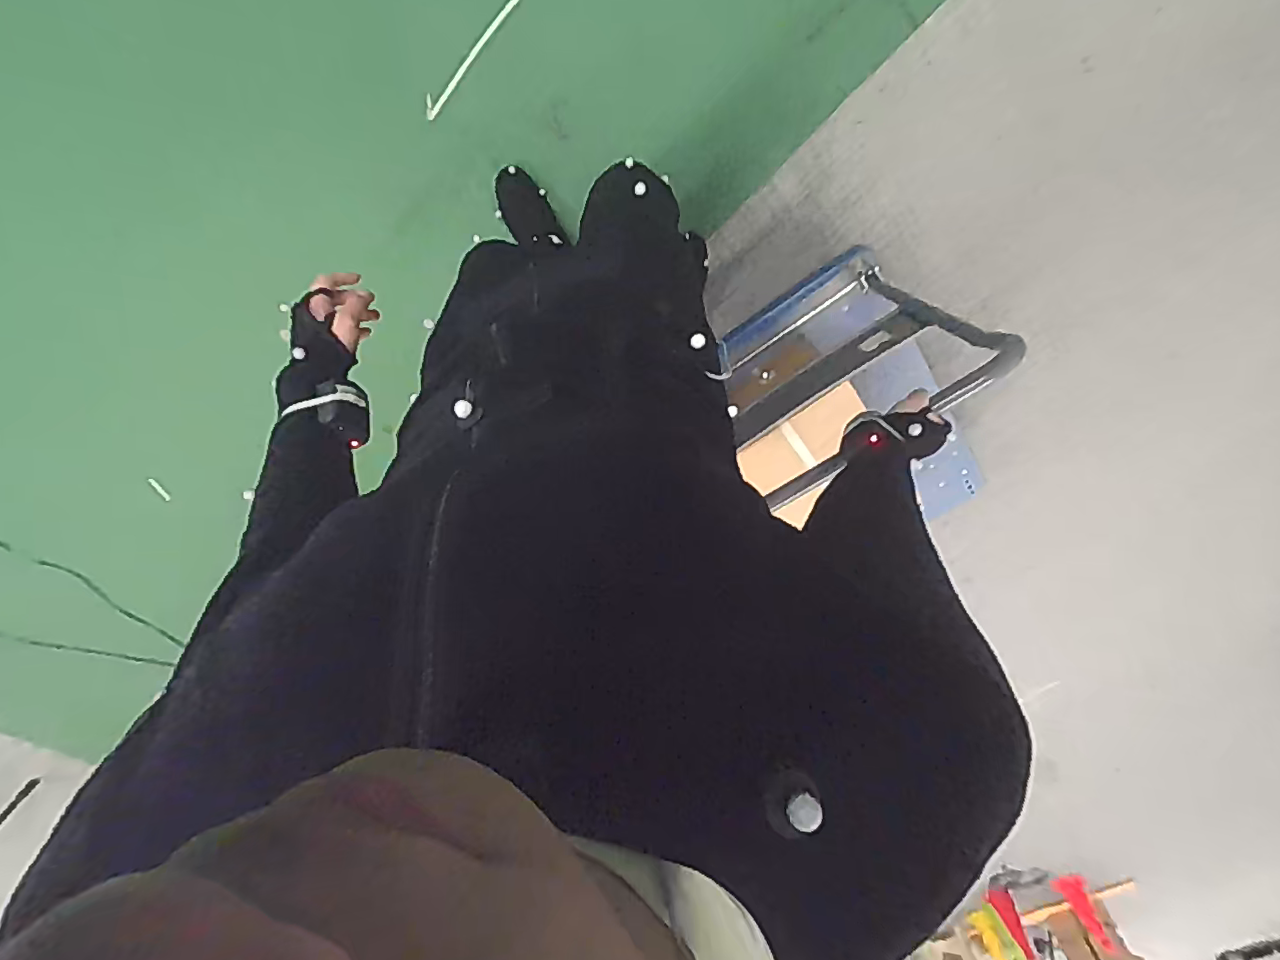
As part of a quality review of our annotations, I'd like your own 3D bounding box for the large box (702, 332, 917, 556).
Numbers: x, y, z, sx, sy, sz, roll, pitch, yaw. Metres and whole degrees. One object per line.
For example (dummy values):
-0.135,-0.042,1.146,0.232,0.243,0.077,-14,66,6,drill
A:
0.409,-0.092,1.367,0.320,0.320,0.408,-34,118,18,large box
